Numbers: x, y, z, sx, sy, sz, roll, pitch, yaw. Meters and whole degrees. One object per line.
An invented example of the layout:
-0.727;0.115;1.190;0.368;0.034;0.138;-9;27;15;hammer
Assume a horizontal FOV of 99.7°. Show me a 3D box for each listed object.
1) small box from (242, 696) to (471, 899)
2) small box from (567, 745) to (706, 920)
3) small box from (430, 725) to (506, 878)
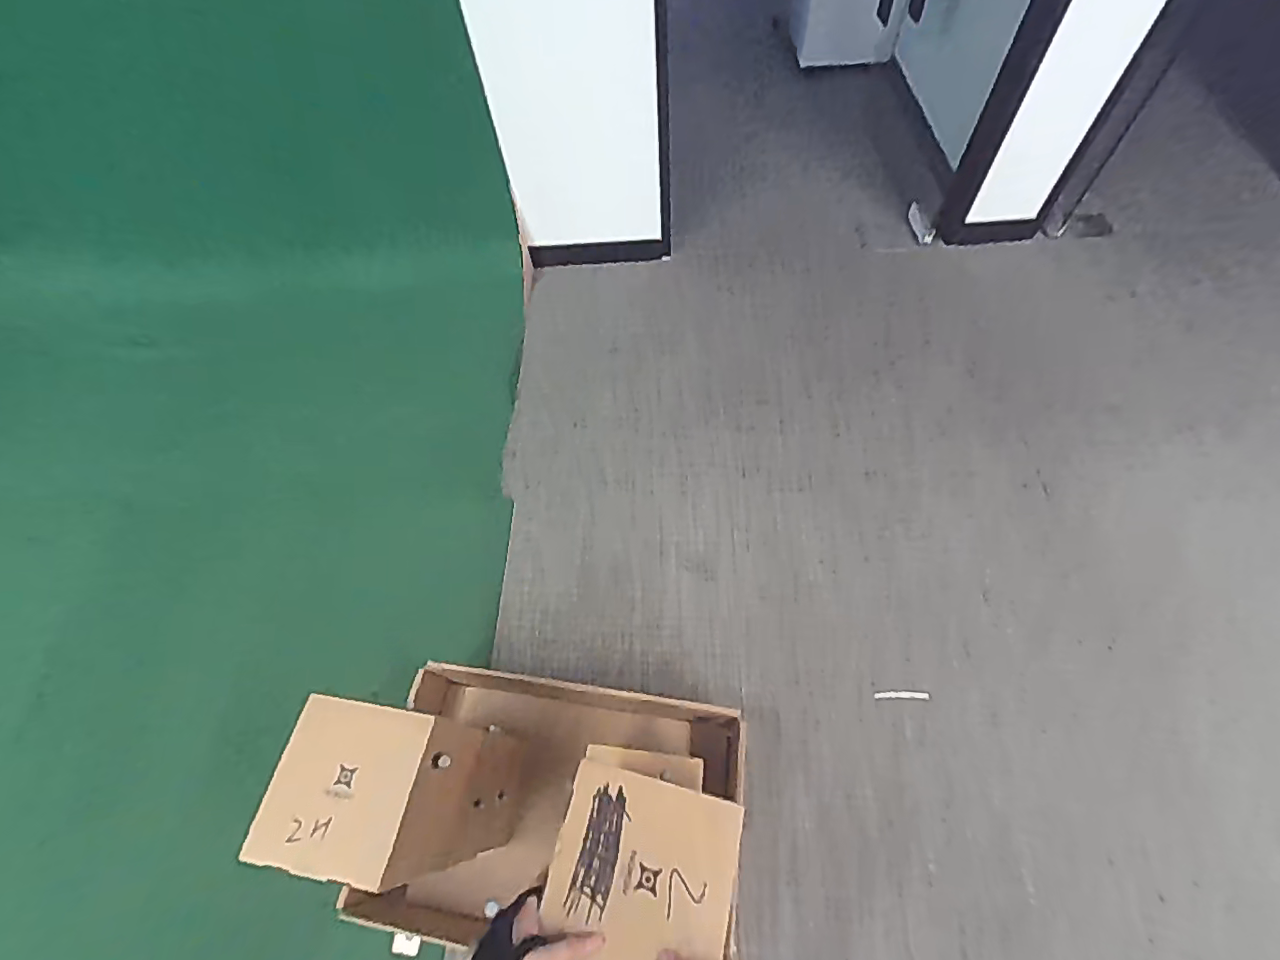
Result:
-0.331;0.389;0.679;0.168;0.176;0.179;8;61;7;small box
0.003;0.497;0.781;0.168;0.176;0.179;5;61;8;small box
-0.318;0.469;0.822;0.168;0.176;0.179;9;62;8;small box
